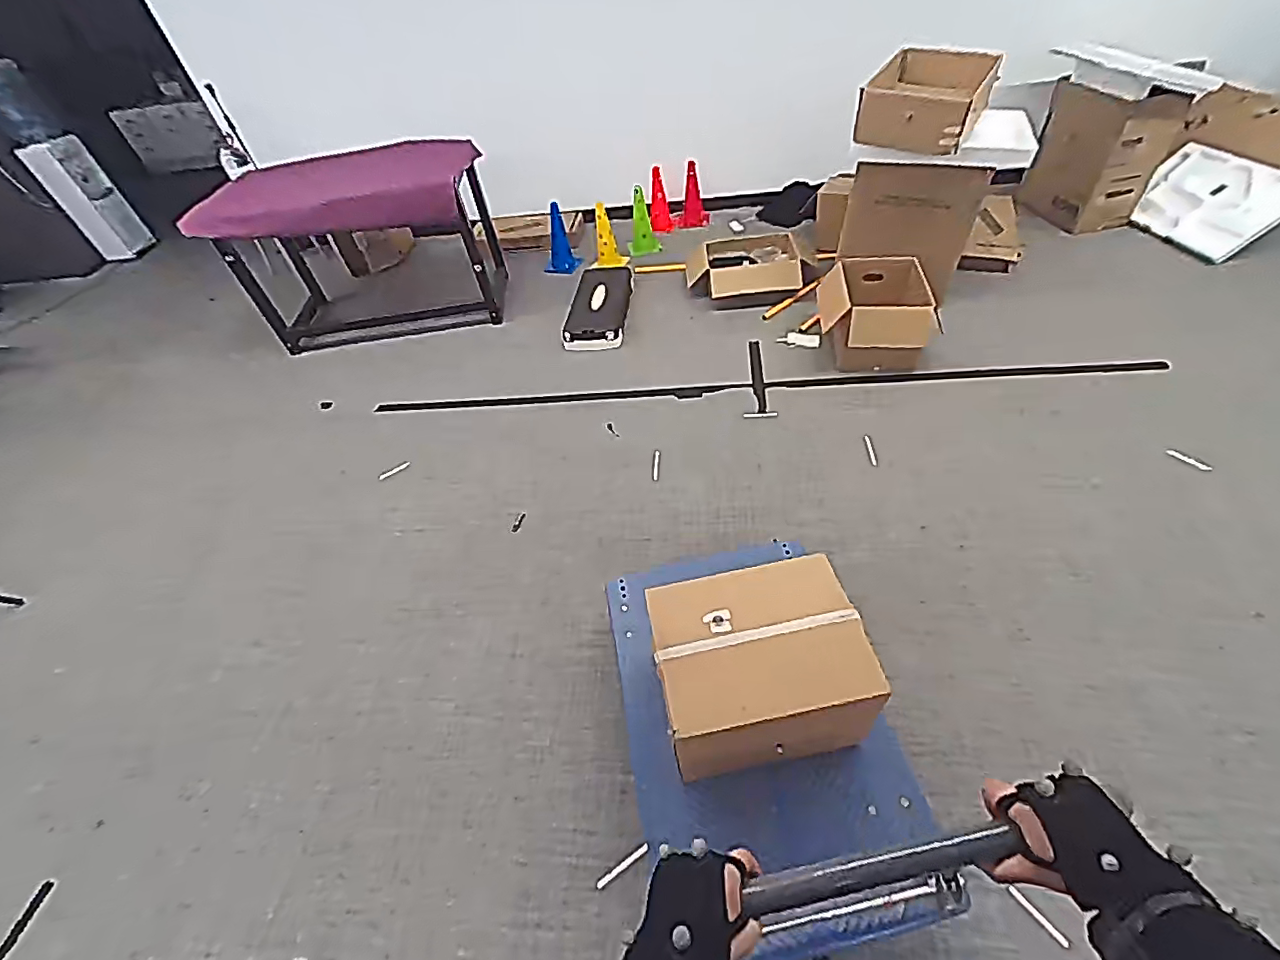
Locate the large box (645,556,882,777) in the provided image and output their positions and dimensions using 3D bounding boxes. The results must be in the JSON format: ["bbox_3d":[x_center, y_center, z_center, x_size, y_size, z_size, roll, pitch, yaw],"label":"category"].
[{"bbox_3d":[0.251,0.417,1.200,0.408,0.320,0.320,-13,47,-1],"label":"large box"}]
